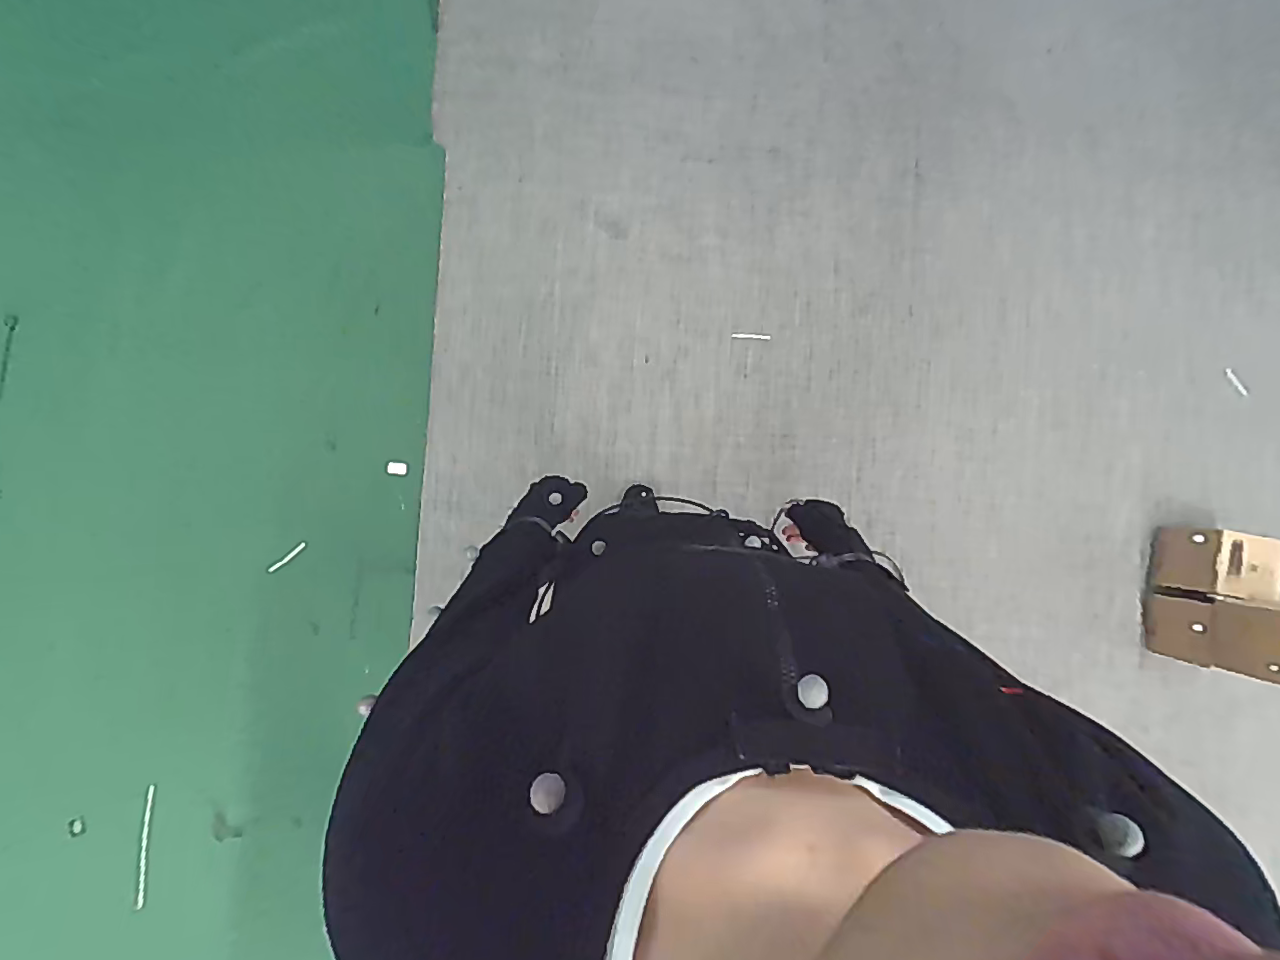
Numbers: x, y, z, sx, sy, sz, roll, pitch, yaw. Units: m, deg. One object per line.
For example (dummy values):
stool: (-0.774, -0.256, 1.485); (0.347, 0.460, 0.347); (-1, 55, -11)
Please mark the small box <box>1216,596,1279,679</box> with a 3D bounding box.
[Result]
small box: (1.524, 0.373, 1.272); (0.168, 0.176, 0.179); (3, 88, -2)
